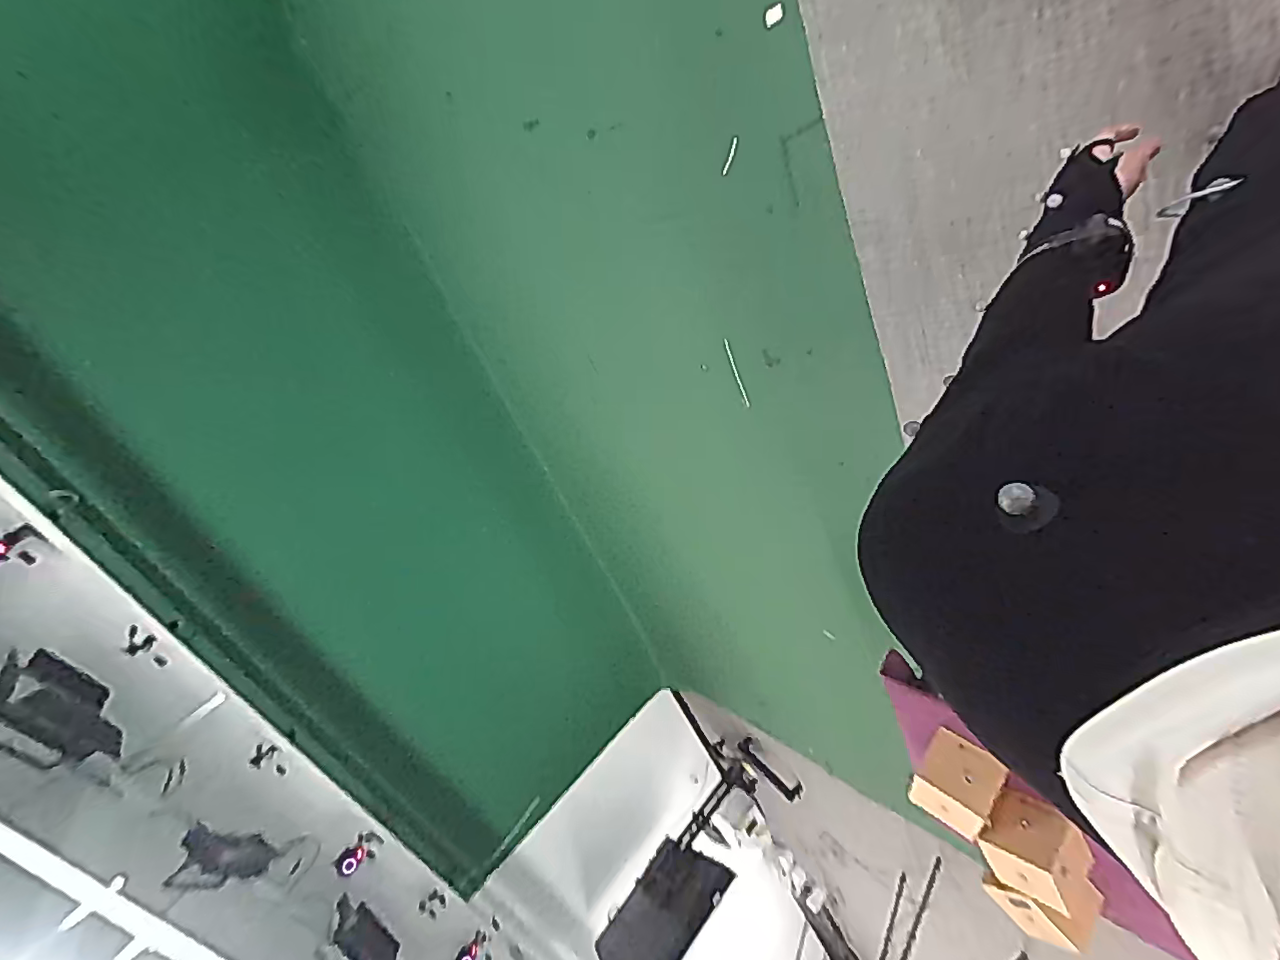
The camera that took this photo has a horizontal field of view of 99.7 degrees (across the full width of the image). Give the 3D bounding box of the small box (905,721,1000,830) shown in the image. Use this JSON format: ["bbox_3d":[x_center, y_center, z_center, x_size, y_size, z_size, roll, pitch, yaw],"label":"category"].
[{"bbox_3d":[0.841,0.787,1.454,0.168,0.176,0.179,24,146,37],"label":"small box"}]
